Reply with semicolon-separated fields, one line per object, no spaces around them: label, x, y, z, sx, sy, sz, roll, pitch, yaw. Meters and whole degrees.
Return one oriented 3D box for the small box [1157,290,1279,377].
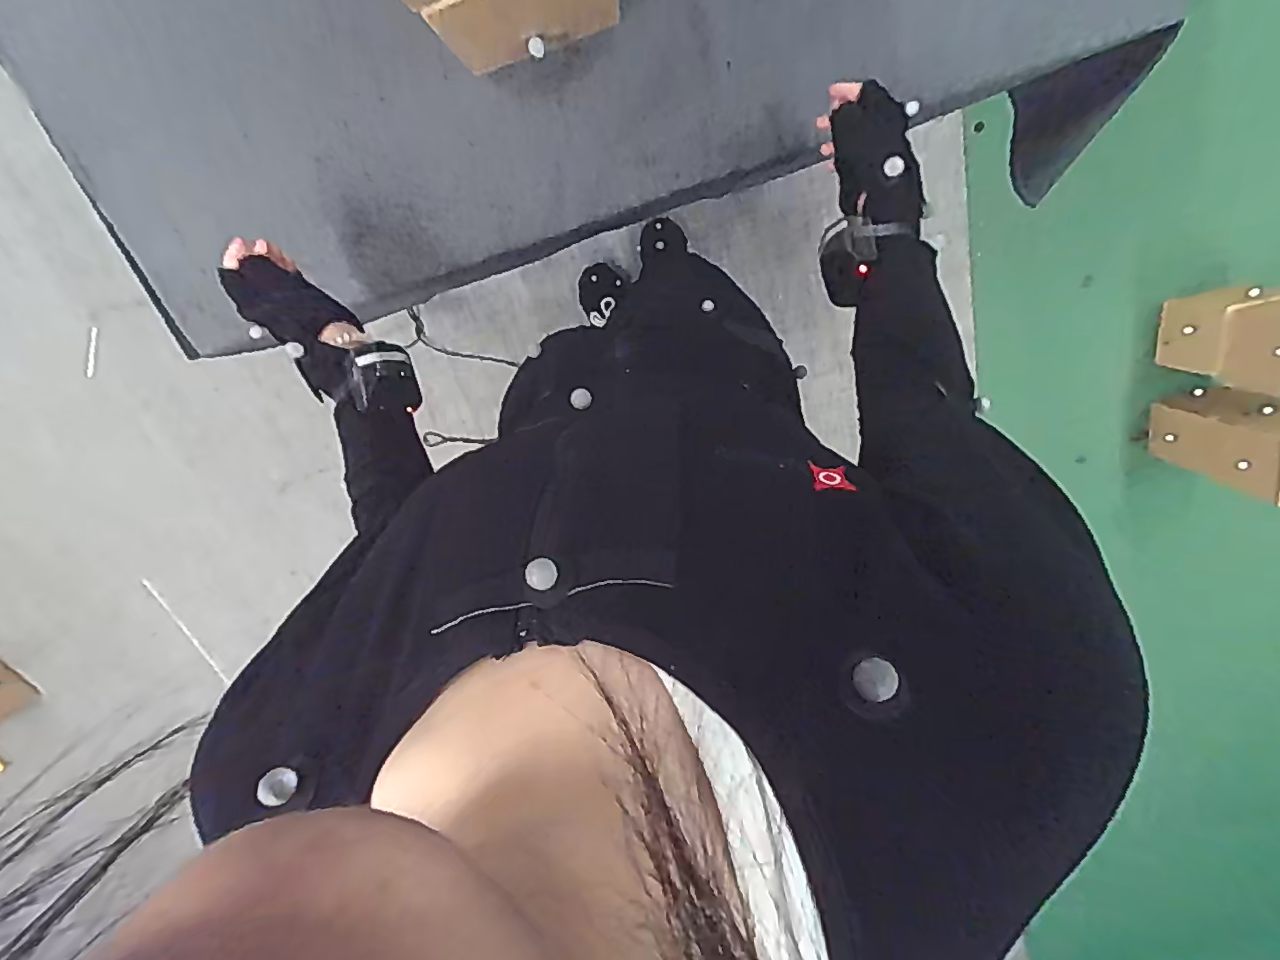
small box;1.429;-0.362;1.321;0.179;0.176;0.168;-11;112;4

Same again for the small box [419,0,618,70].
small box;-0.121;-0.503;0.466;0.168;0.176;0.179;-15;112;6

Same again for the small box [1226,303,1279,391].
small box;1.442;-0.294;1.170;0.168;0.176;0.179;-12;112;4
